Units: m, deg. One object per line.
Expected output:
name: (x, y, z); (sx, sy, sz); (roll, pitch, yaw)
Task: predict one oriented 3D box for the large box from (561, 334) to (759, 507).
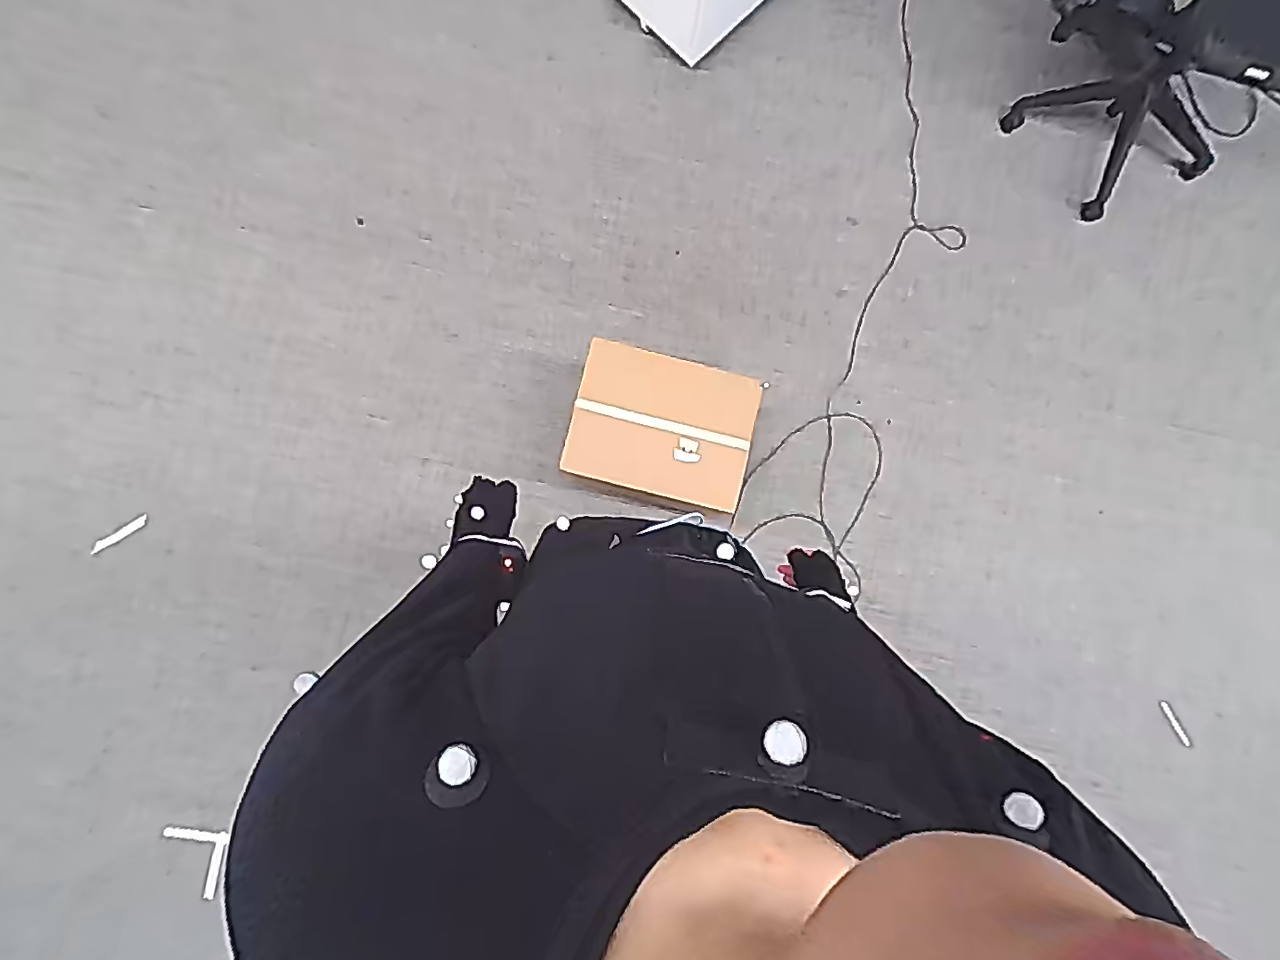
large box: (0.036, -0.129, 1.367); (0.408, 0.320, 0.320); (15, 86, -3)
